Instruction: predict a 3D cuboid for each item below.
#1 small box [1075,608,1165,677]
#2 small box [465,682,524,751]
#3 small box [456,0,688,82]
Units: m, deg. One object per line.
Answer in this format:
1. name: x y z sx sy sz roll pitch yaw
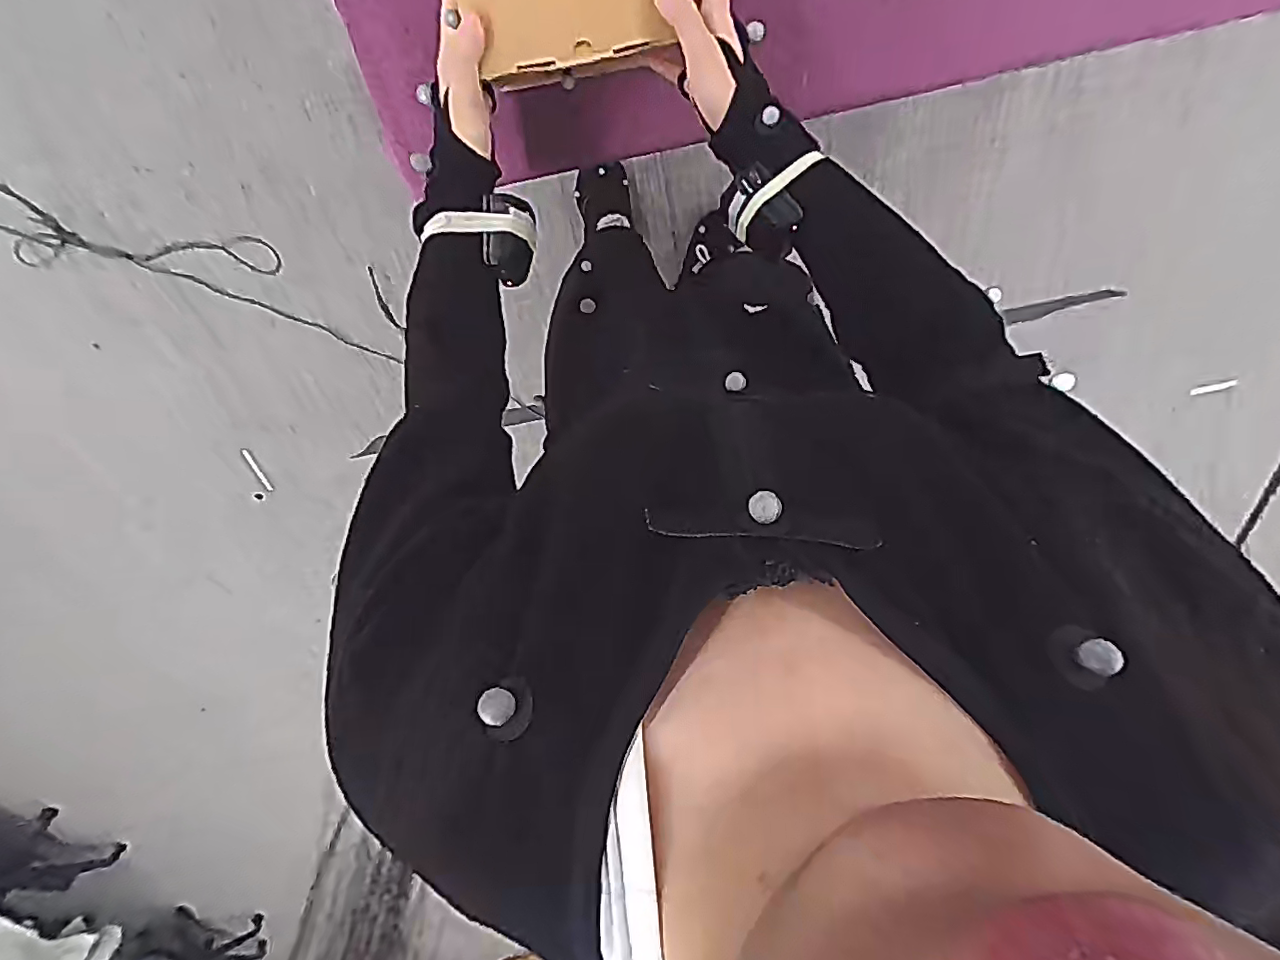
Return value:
1. small box: 1.803 0.613 2.045 0.168 0.176 0.179 -9 123 -2
2. small box: -0.575 0.943 2.158 0.168 0.176 0.179 26 117 -22
3. small box: -0.065 -0.431 0.419 0.168 0.176 0.179 -11 125 0
